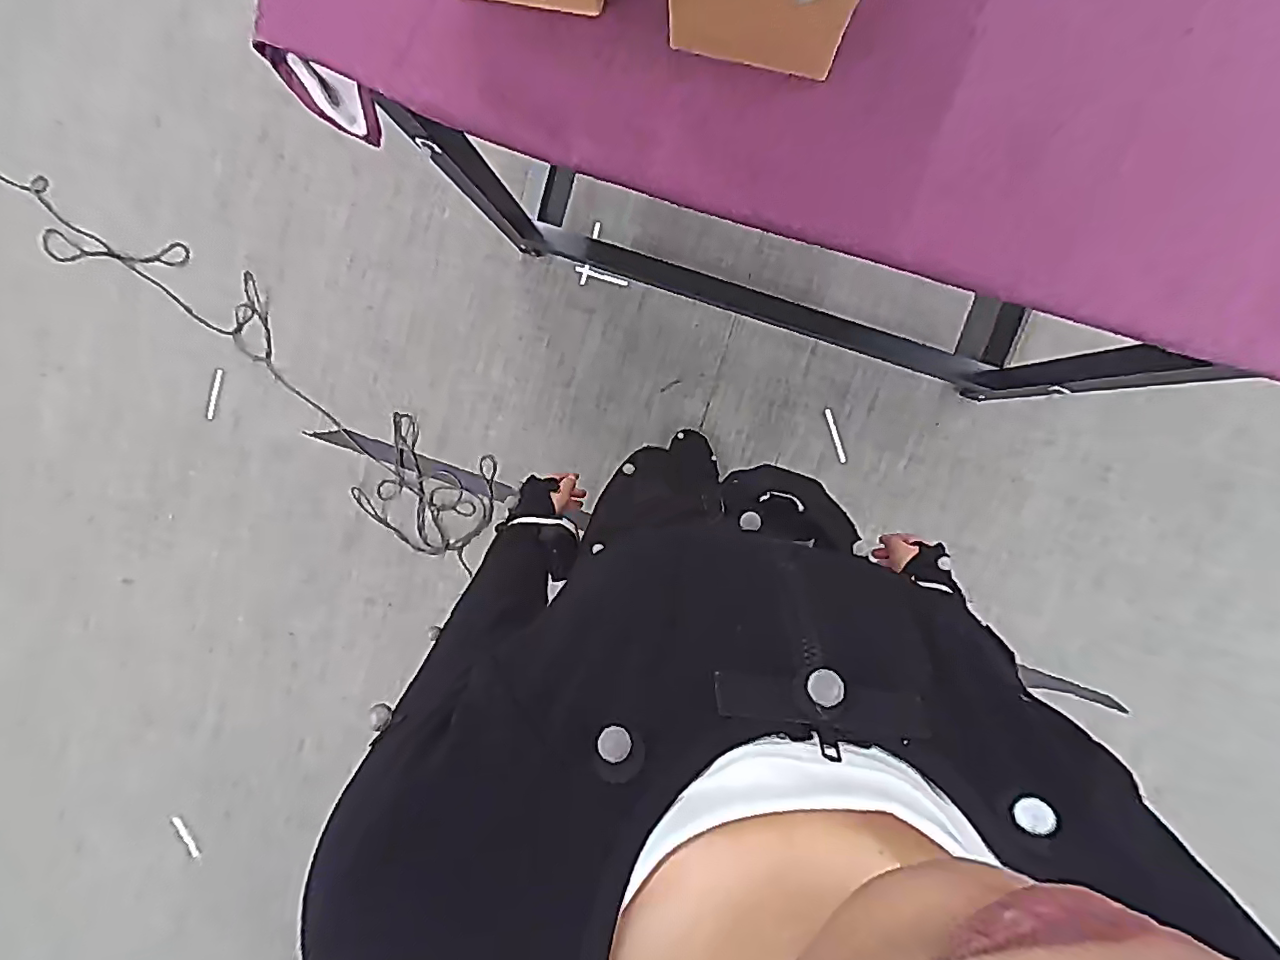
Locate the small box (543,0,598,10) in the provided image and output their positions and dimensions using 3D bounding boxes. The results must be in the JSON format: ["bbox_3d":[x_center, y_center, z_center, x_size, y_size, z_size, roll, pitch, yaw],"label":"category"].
[{"bbox_3d":[-0.114,-0.604,0.512,0.168,0.176,0.179,12,96,3],"label":"small box"}]

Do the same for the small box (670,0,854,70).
[{"bbox_3d":[0.130,-0.526,0.498,0.179,0.176,0.168,14,96,3],"label":"small box"}]
